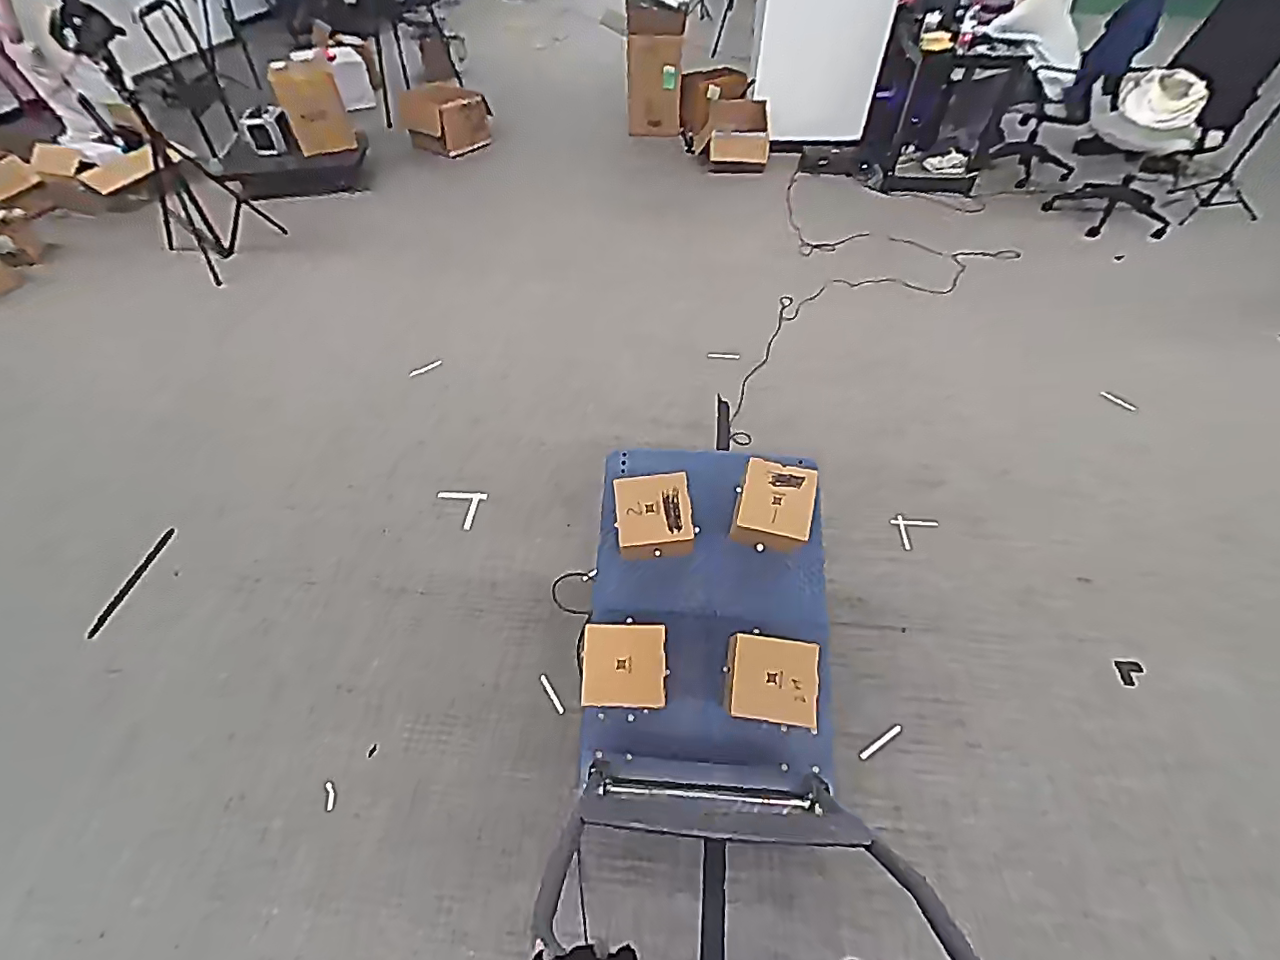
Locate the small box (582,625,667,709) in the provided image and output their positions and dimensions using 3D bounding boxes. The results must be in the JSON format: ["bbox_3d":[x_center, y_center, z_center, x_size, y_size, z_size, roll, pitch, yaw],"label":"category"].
[{"bbox_3d":[-0.029,0.421,1.214,0.179,0.176,0.168,0,70,2],"label":"small box"}]

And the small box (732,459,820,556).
[{"bbox_3d":[0.326,0.073,1.326,0.168,0.176,0.179,13,72,7],"label":"small box"}]

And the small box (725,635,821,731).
[{"bbox_3d":[0.286,0.445,1.192,0.179,0.176,0.168,7,71,5],"label":"small box"}]
